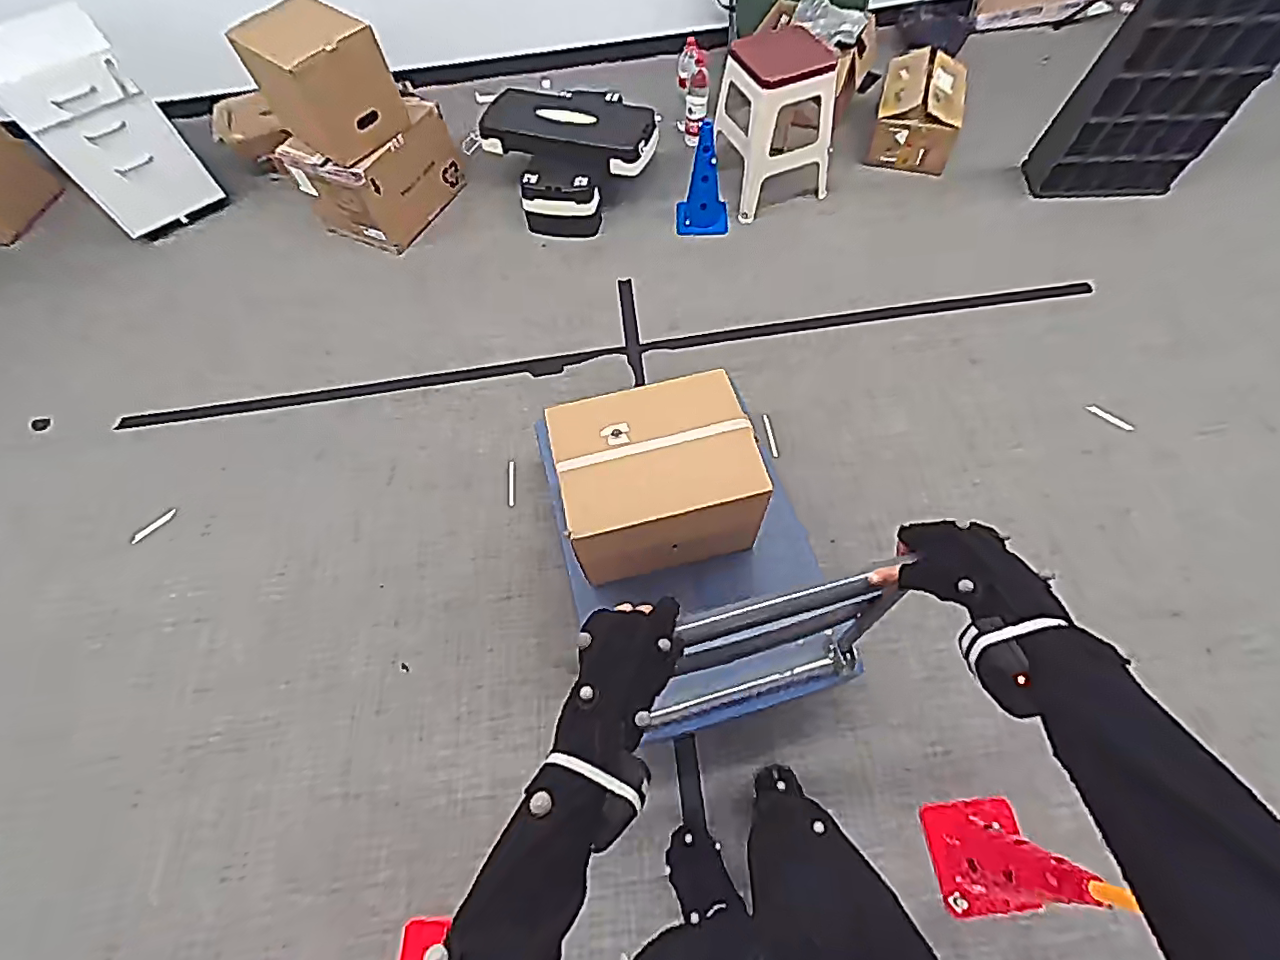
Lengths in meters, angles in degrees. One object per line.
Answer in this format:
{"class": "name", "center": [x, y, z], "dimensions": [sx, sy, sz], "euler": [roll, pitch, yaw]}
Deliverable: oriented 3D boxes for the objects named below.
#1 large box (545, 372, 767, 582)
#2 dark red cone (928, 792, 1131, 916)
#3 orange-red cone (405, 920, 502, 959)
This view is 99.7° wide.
{"class": "large box", "center": [0.032, 0.007, 1.242], "dimensions": [0.408, 0.320, 0.320], "euler": [-14, 63, -3]}
{"class": "dark red cone", "center": [0.713, 0.691, 0.971], "dimensions": [0.201, 0.394, 0.202], "euler": [-7, 62, -2]}
{"class": "orange-red cone", "center": [-0.395, 0.932, 0.944], "dimensions": [0.198, 0.360, 0.199], "euler": [-1, 60, 3]}
